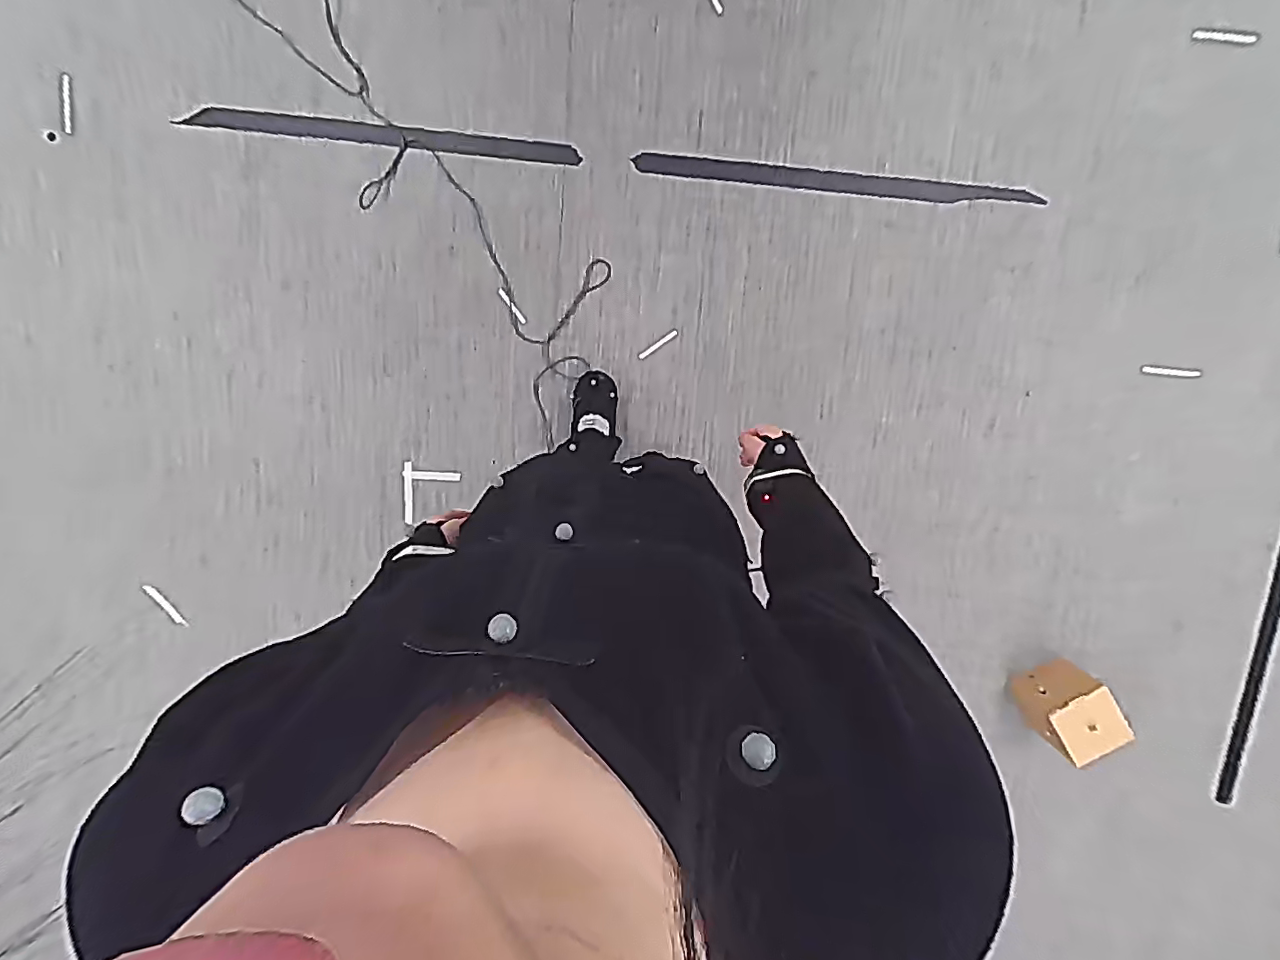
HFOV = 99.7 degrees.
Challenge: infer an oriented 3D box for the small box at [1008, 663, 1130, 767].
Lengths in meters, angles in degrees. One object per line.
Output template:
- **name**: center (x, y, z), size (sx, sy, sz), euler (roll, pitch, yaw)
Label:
- **small box**: center (1.163, 0.630, 1.482), size (0.168, 0.176, 0.179), euler (-32, 97, 5)
